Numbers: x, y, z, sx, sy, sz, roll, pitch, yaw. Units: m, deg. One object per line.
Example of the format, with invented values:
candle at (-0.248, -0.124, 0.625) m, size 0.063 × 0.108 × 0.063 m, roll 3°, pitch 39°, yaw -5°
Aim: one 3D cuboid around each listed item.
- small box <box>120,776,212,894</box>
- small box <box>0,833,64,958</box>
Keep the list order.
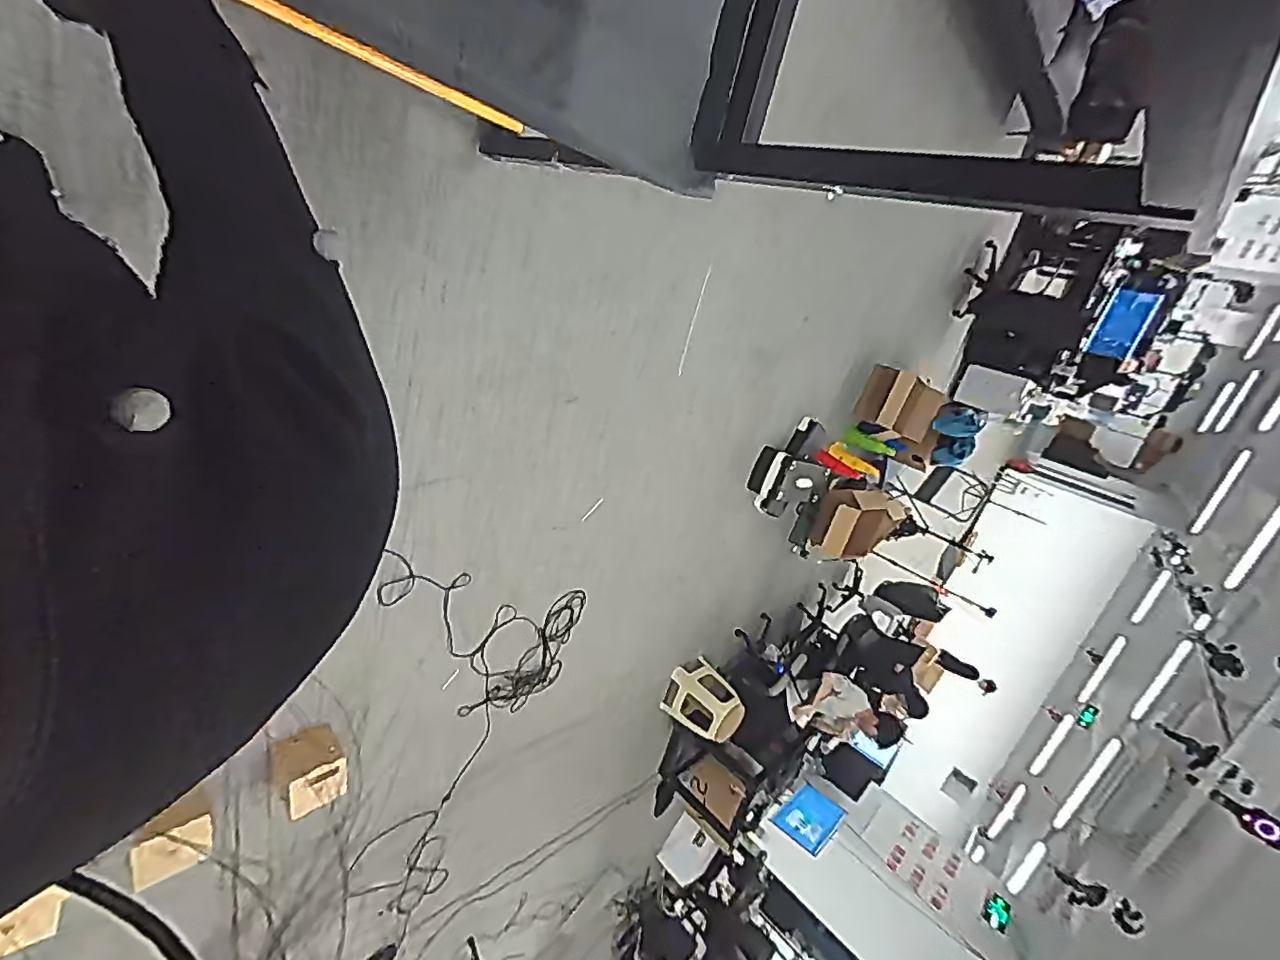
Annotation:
small box at (-1.311, 0.973, 1.497) m, size 0.168 × 0.176 × 0.179 m, roll -10°, pitch 120°, yaw -48°
small box at (-1.504, 1.000, 1.288) m, size 0.168 × 0.176 × 0.179 m, roll 4°, pitch 110°, yaw -51°
